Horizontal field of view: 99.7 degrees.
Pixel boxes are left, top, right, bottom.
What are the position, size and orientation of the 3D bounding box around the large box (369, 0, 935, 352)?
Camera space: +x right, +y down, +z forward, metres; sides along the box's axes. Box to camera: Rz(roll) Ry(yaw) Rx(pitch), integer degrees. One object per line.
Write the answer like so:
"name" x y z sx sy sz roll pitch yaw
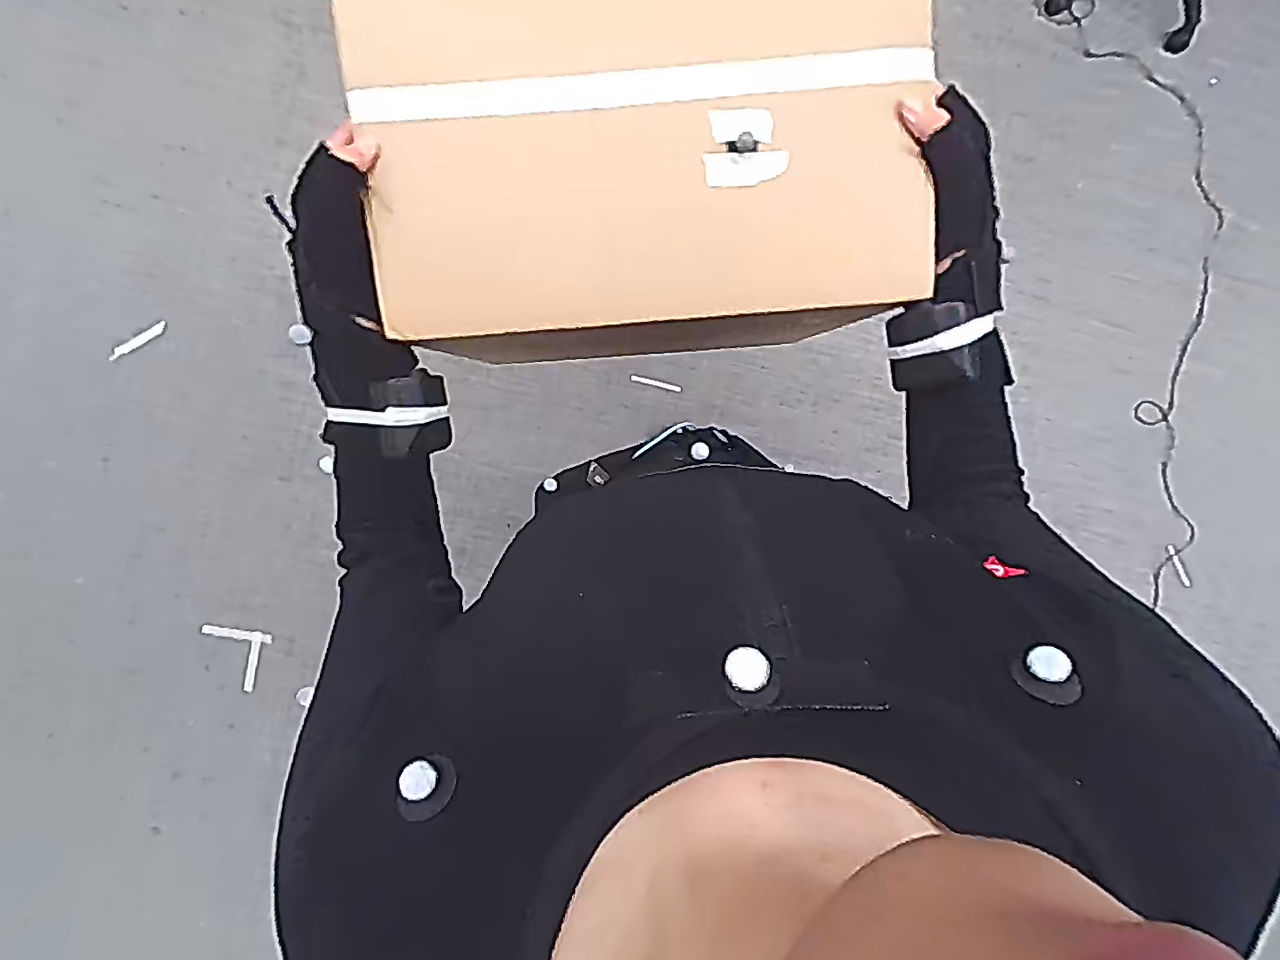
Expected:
"large box" 0.007 -0.308 0.534 0.408 0.320 0.320 -4 100 -2
